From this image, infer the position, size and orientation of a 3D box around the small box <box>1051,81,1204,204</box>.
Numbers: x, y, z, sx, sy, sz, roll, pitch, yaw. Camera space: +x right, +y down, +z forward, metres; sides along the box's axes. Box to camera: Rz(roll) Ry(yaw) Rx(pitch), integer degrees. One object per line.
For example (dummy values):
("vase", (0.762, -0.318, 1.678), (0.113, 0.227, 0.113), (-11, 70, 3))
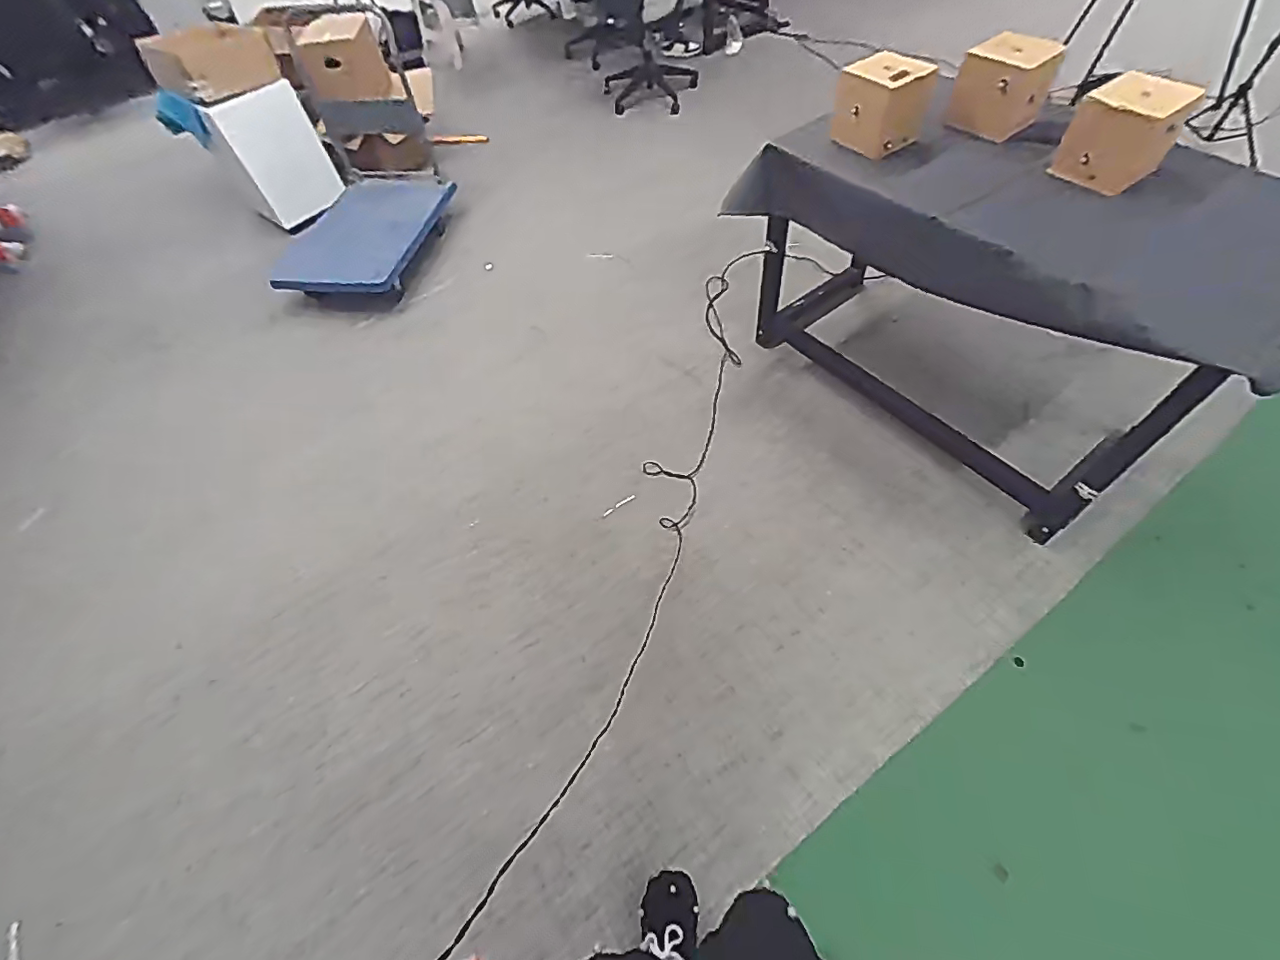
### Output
("small box", (1.107, -0.775, 1.247), (0.179, 0.176, 0.168), (-32, 59, -14))

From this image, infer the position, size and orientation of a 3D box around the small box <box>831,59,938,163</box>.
("small box", (0.637, -0.970, 1.430), (0.168, 0.176, 0.179), (-30, 57, -15))

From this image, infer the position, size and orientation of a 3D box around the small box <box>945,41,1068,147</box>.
("small box", (0.949, -1.006, 1.418), (0.168, 0.176, 0.179), (-33, 58, -15))
